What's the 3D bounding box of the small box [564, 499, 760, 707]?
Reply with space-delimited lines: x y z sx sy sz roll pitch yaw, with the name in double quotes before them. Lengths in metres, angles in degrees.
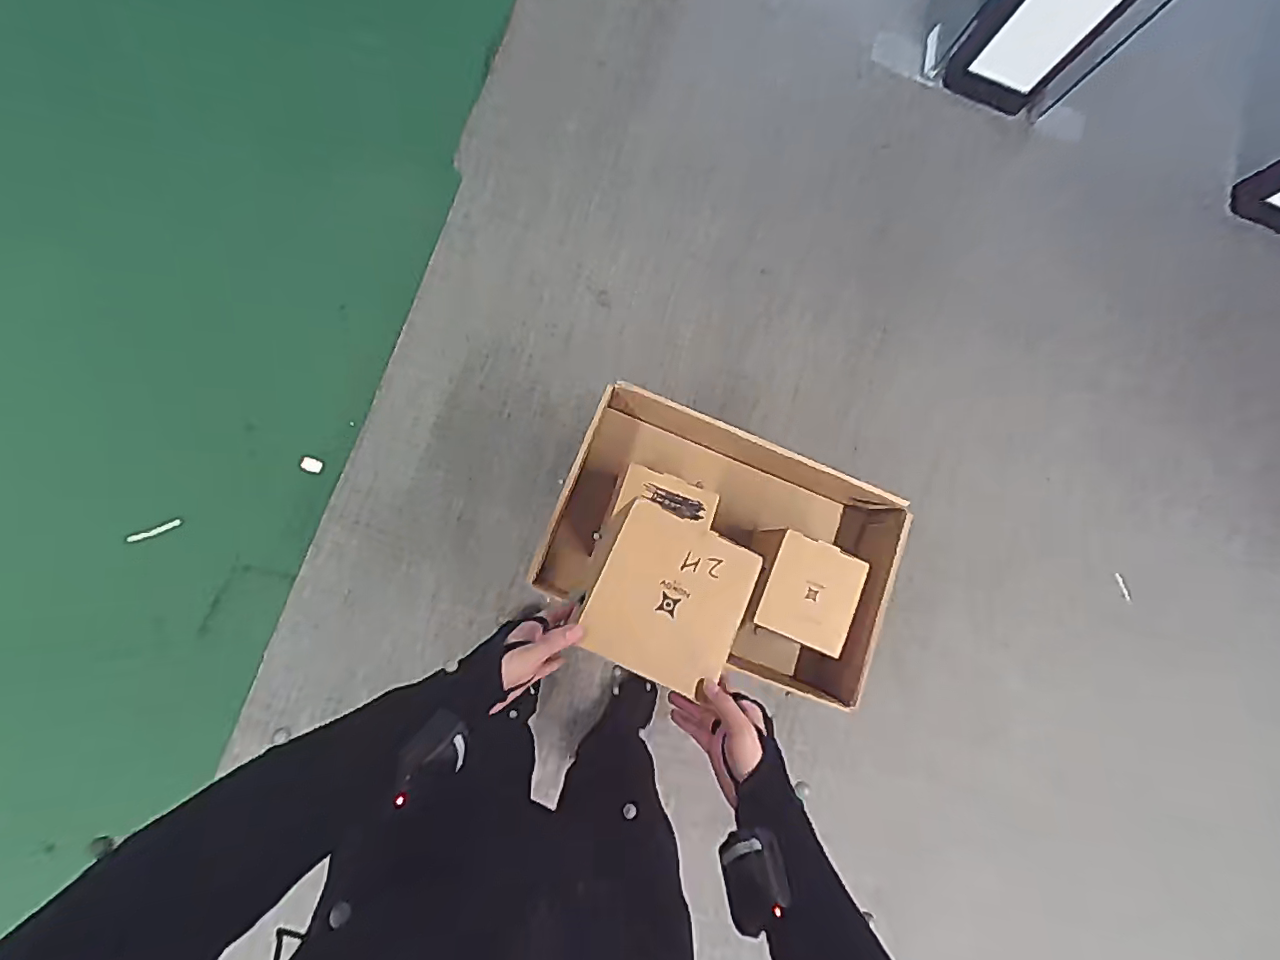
"small box" 0.016 0.149 0.665 0.168 0.176 0.179 27 72 -5
